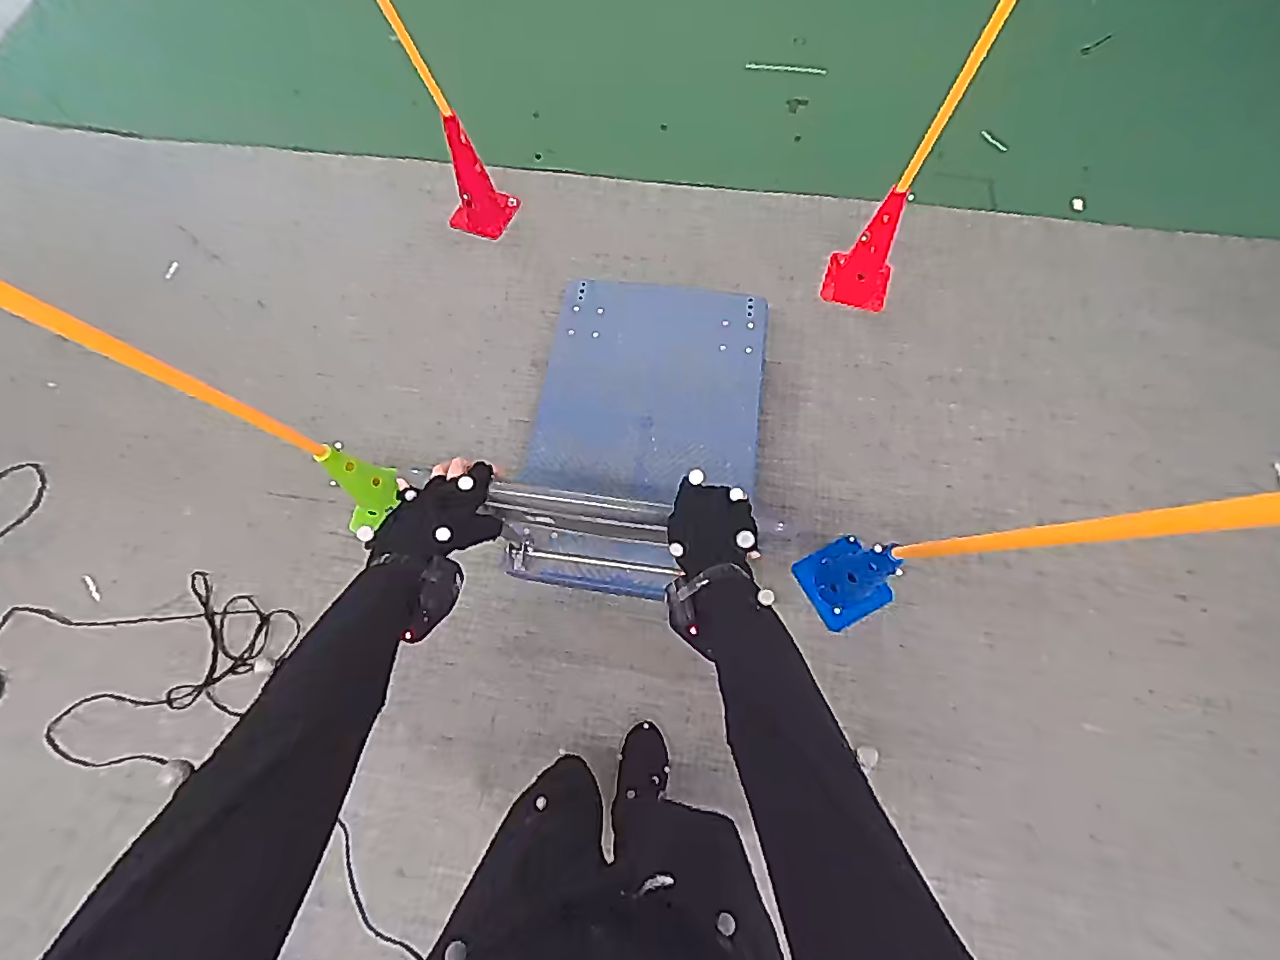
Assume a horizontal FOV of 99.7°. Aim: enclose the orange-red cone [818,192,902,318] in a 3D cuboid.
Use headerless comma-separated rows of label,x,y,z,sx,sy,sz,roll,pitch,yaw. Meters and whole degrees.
orange-red cone,0.685,-0.683,1.594,0.198,0.360,0.199,18,71,9
